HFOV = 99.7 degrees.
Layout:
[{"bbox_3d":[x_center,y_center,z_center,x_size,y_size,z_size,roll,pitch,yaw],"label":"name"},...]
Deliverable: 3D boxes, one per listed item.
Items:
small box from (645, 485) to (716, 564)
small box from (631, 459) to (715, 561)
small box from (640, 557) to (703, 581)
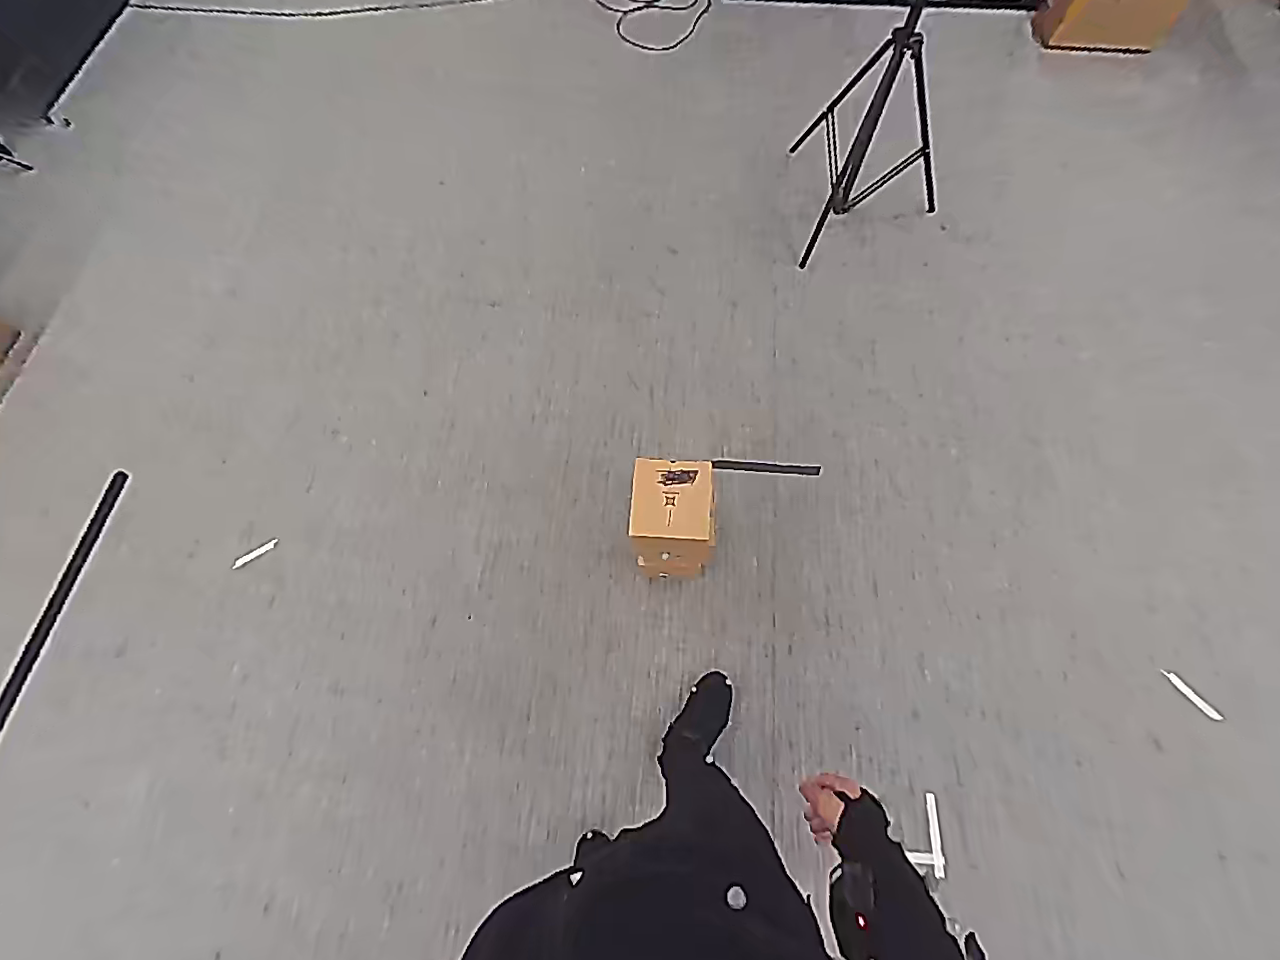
[{"bbox_3d":[0.095,0.111,1.352,0.179,0.176,0.168,0,68,2],"label":"small box"},{"bbox_3d":[0.072,0.070,1.192,0.168,0.176,0.179,3,69,5],"label":"small box"},{"bbox_3d":[0.087,0.175,1.503,0.168,0.176,0.179,1,68,3],"label":"small box"}]
